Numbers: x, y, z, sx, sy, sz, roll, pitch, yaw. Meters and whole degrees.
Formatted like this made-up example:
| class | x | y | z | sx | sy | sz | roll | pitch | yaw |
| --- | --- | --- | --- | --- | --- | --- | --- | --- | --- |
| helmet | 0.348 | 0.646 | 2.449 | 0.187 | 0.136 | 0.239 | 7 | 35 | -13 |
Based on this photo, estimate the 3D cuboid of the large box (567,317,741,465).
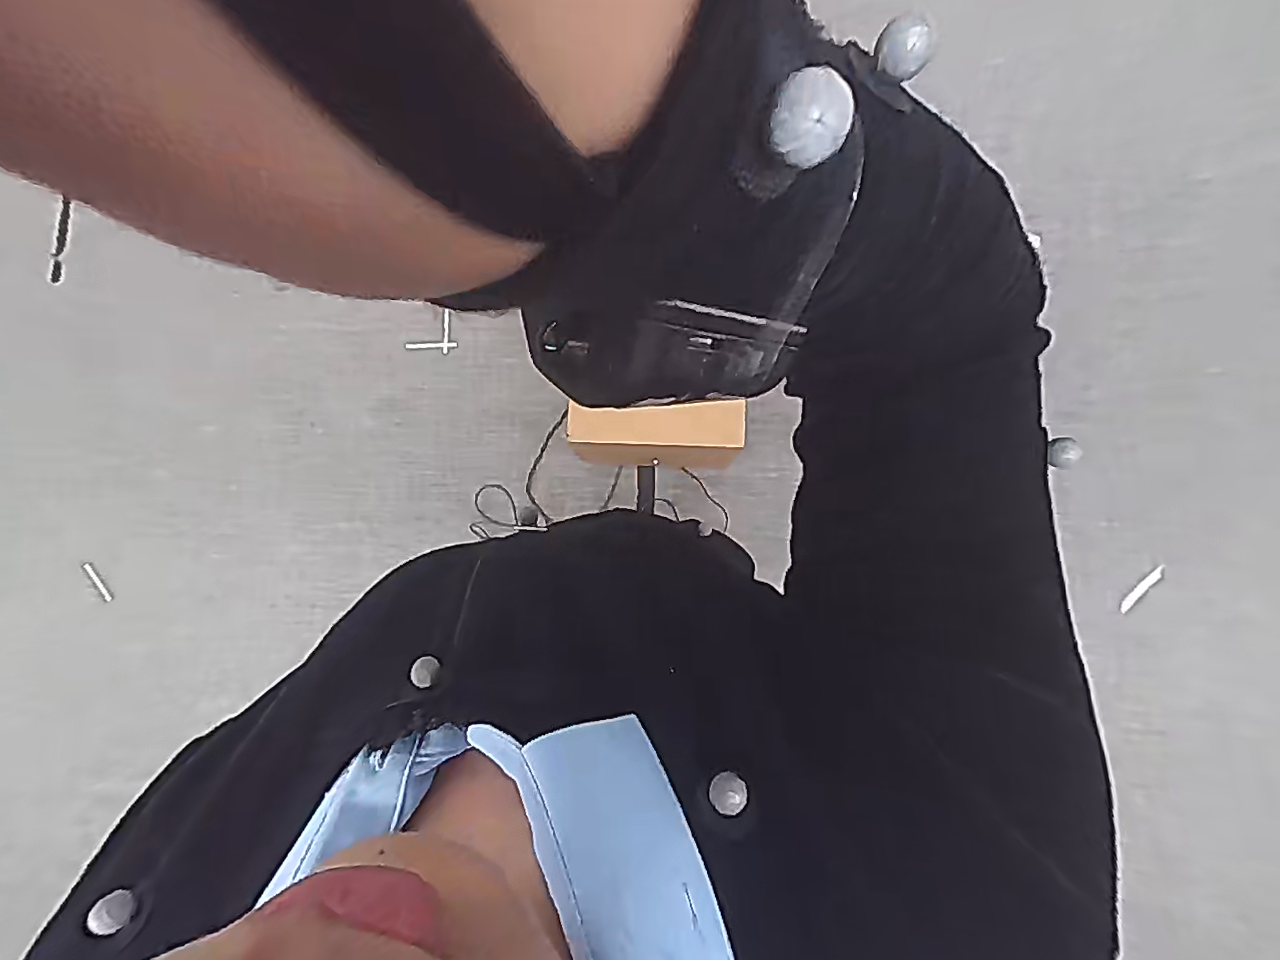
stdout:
| class | x | y | z | sx | sy | sz | roll | pitch | yaw |
| --- | --- | --- | --- | --- | --- | --- | --- | --- | --- |
| large box | 0.040 | -0.210 | 1.394 | 0.408 | 0.320 | 0.320 | 1 | 81 | 2 |
